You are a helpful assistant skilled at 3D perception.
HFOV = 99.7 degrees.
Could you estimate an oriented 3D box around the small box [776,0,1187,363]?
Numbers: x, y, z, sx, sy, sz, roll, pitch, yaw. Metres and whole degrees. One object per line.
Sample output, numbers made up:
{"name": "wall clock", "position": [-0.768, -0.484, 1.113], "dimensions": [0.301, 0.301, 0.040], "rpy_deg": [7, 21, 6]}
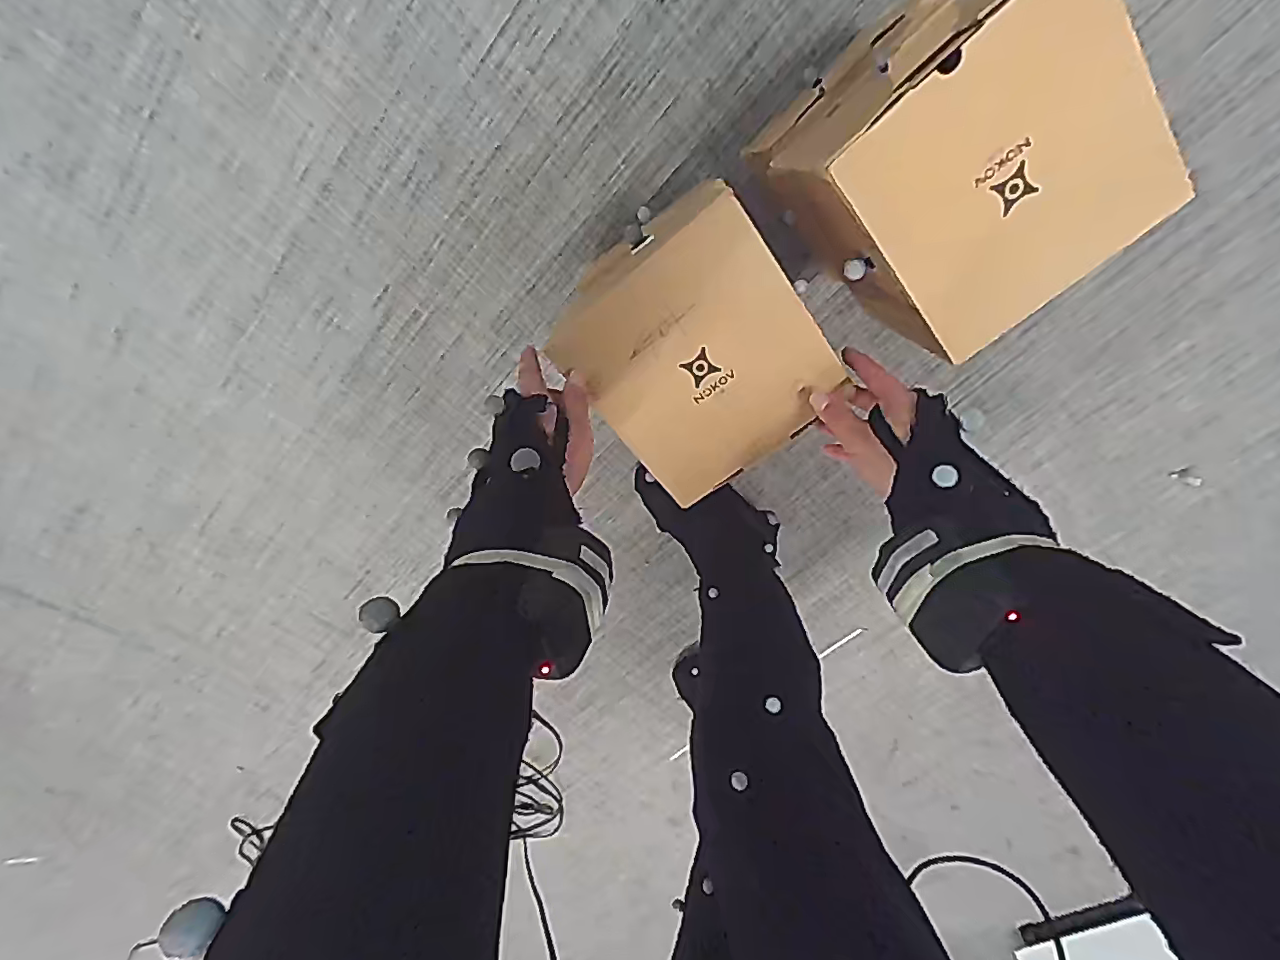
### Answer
{"name": "small box", "position": [0.230, -0.225, 0.408], "dimensions": [0.168, 0.176, 0.179], "rpy_deg": [-39, 112, 19]}

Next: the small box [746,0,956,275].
{"name": "small box", "position": [0.228, -0.320, 0.541], "dimensions": [0.168, 0.176, 0.179], "rpy_deg": [-39, 112, 18]}

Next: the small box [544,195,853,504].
{"name": "small box", "position": [0.045, -0.118, 0.466], "dimensions": [0.168, 0.176, 0.179], "rpy_deg": [-36, 112, 16]}
